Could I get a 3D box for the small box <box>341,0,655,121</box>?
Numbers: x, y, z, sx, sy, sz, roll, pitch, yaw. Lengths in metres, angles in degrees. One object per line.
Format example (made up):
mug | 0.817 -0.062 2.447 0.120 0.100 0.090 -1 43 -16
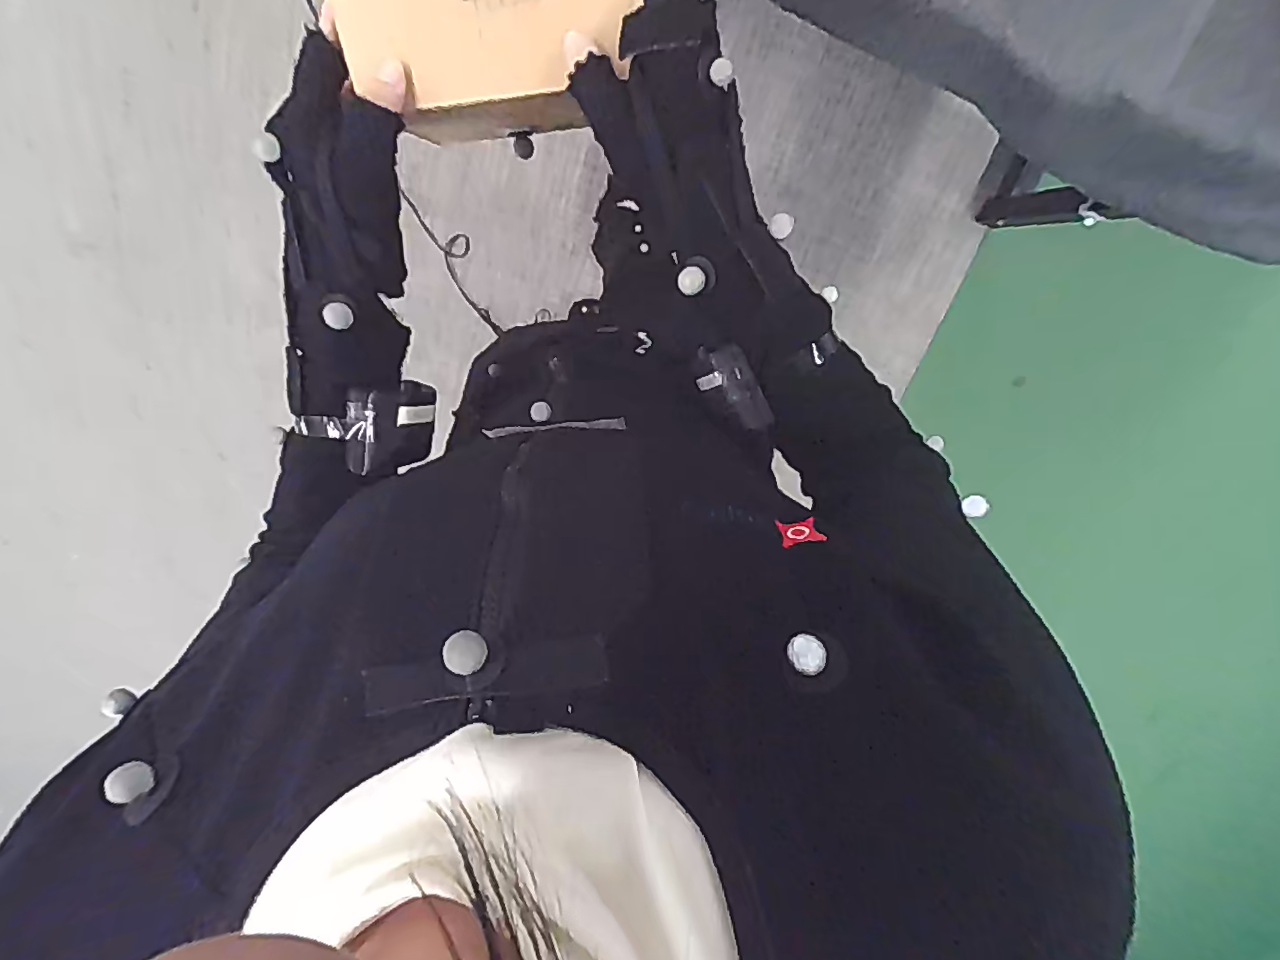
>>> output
small box | -0.086 -0.342 0.330 0.168 0.176 0.179 -7 119 2
